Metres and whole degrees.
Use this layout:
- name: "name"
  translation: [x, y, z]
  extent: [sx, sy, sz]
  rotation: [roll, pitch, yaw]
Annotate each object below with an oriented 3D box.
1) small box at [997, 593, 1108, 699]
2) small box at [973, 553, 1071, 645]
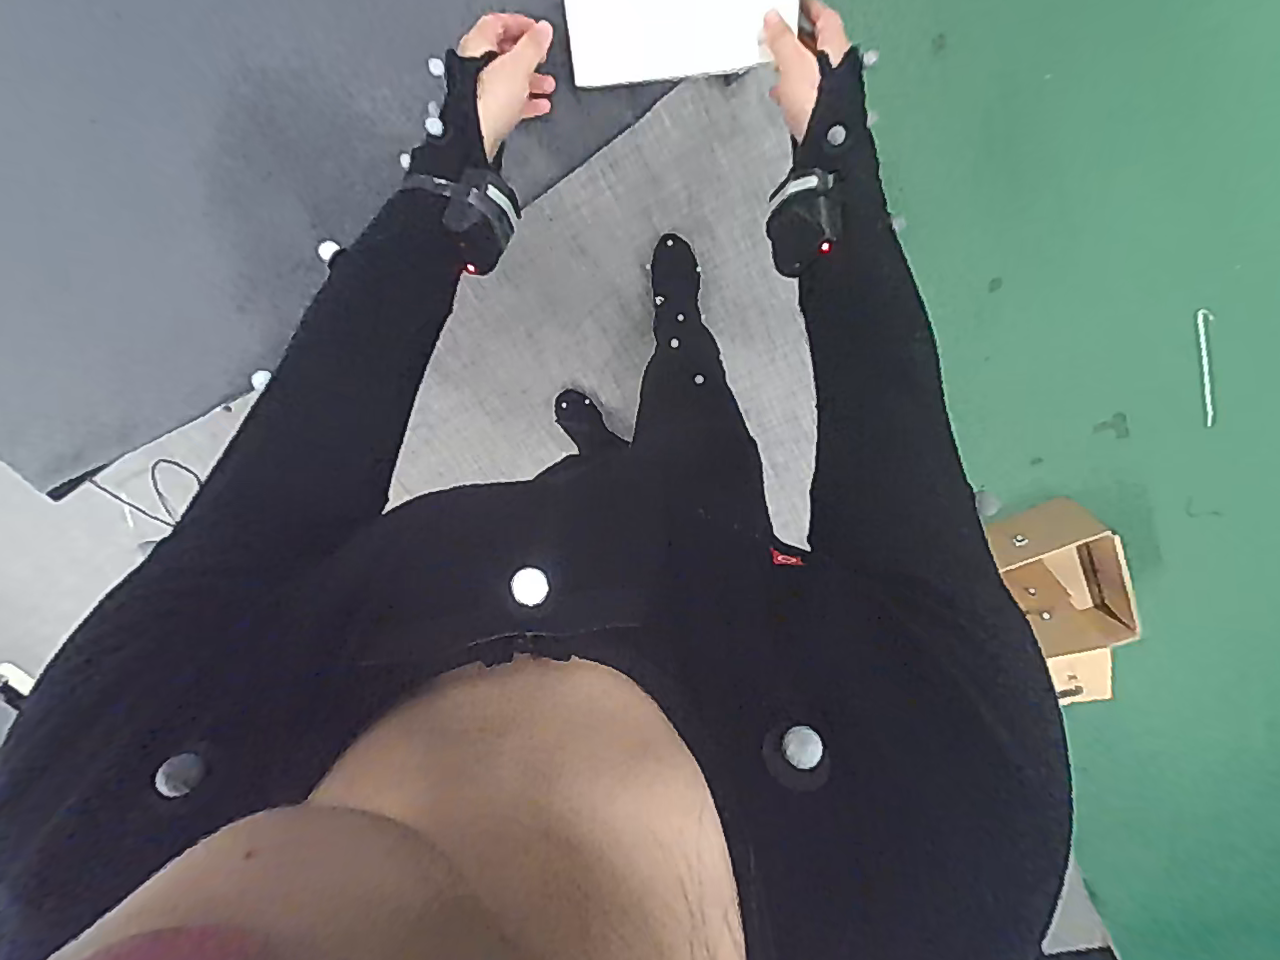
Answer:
- name: "small box"
  translation: [1.030, 0.416, 1.361]
  extent: [0.168, 0.176, 0.179]
  rotation: [-17, 116, 14]
- name: "small box"
  translation: [1.048, 0.326, 1.498]
  extent: [0.179, 0.176, 0.168]
  rotation: [-14, 118, 14]
